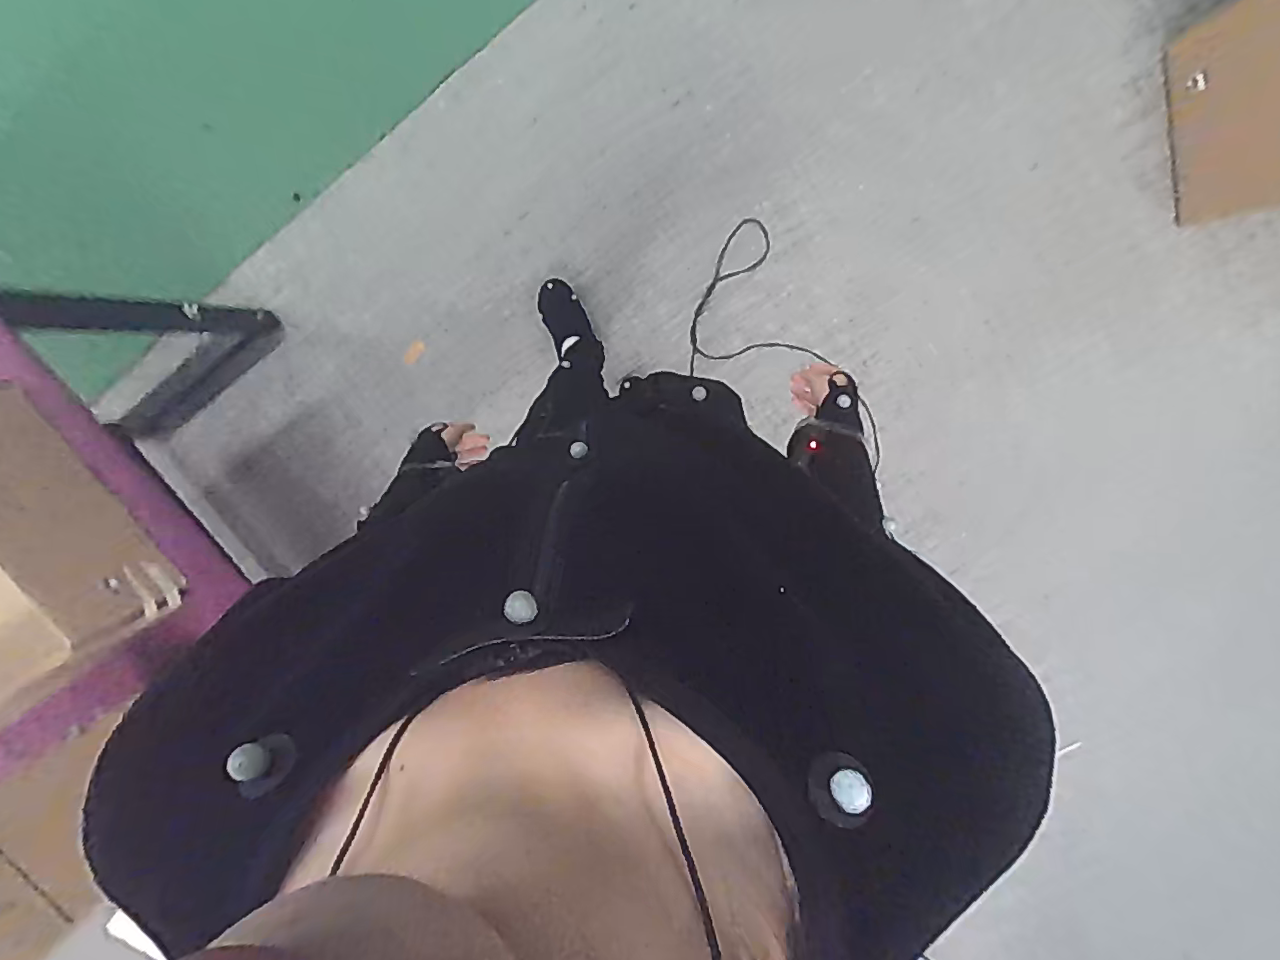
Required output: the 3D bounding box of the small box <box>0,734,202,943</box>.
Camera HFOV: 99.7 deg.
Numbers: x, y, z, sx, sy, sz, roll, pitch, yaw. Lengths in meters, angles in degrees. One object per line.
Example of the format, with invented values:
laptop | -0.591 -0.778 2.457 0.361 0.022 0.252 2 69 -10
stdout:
small box | -0.715 0.448 0.667 0.168 0.176 0.179 -32 100 11
